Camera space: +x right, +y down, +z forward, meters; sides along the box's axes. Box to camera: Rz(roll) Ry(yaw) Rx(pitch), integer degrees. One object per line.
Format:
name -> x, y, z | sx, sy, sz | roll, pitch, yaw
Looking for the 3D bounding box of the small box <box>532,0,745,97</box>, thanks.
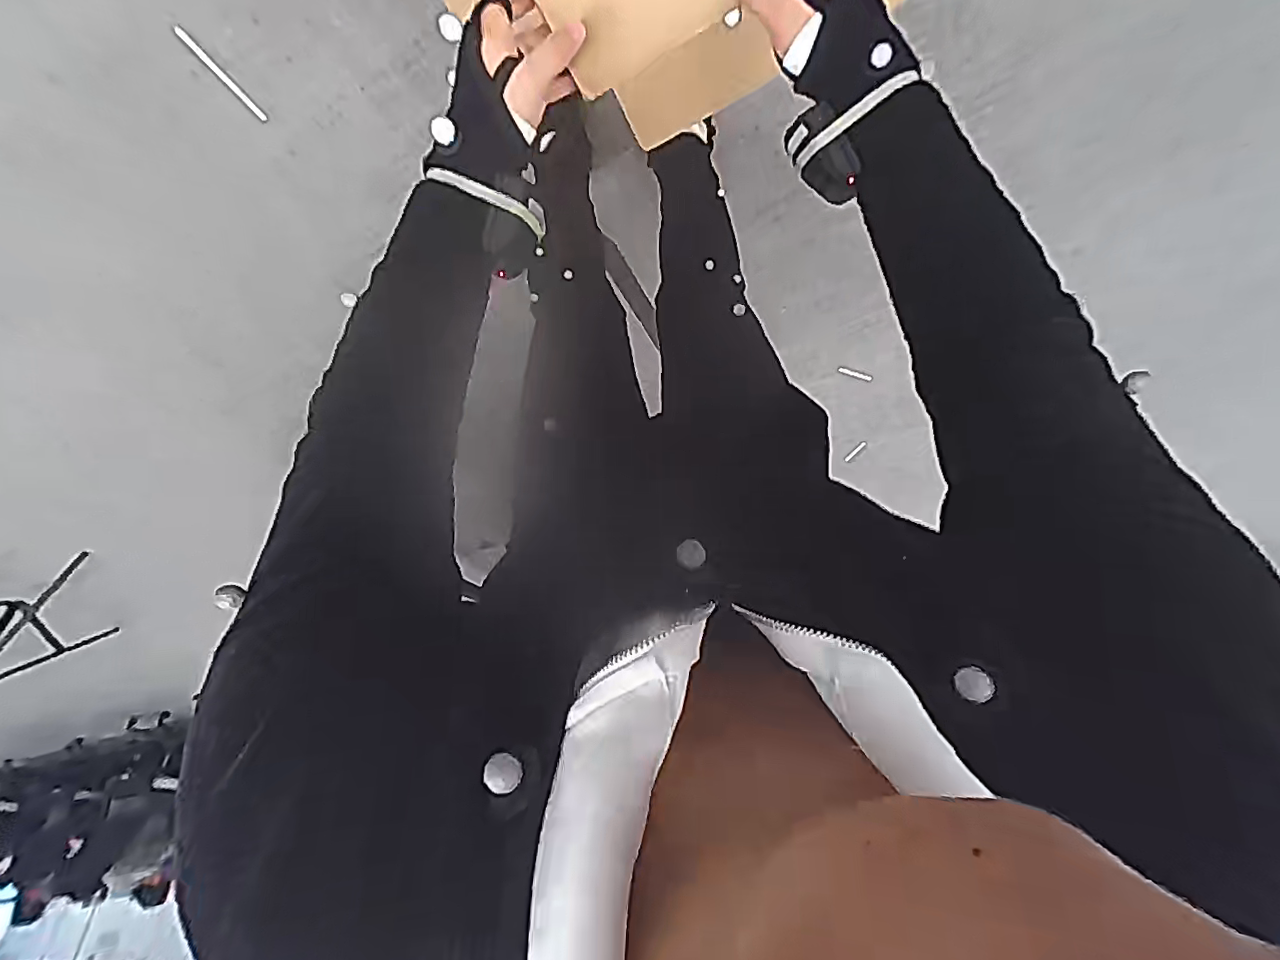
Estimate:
small box -> -0.006, -0.455, 0.423 | 0.179, 0.176, 0.168 | -16, 137, 23
